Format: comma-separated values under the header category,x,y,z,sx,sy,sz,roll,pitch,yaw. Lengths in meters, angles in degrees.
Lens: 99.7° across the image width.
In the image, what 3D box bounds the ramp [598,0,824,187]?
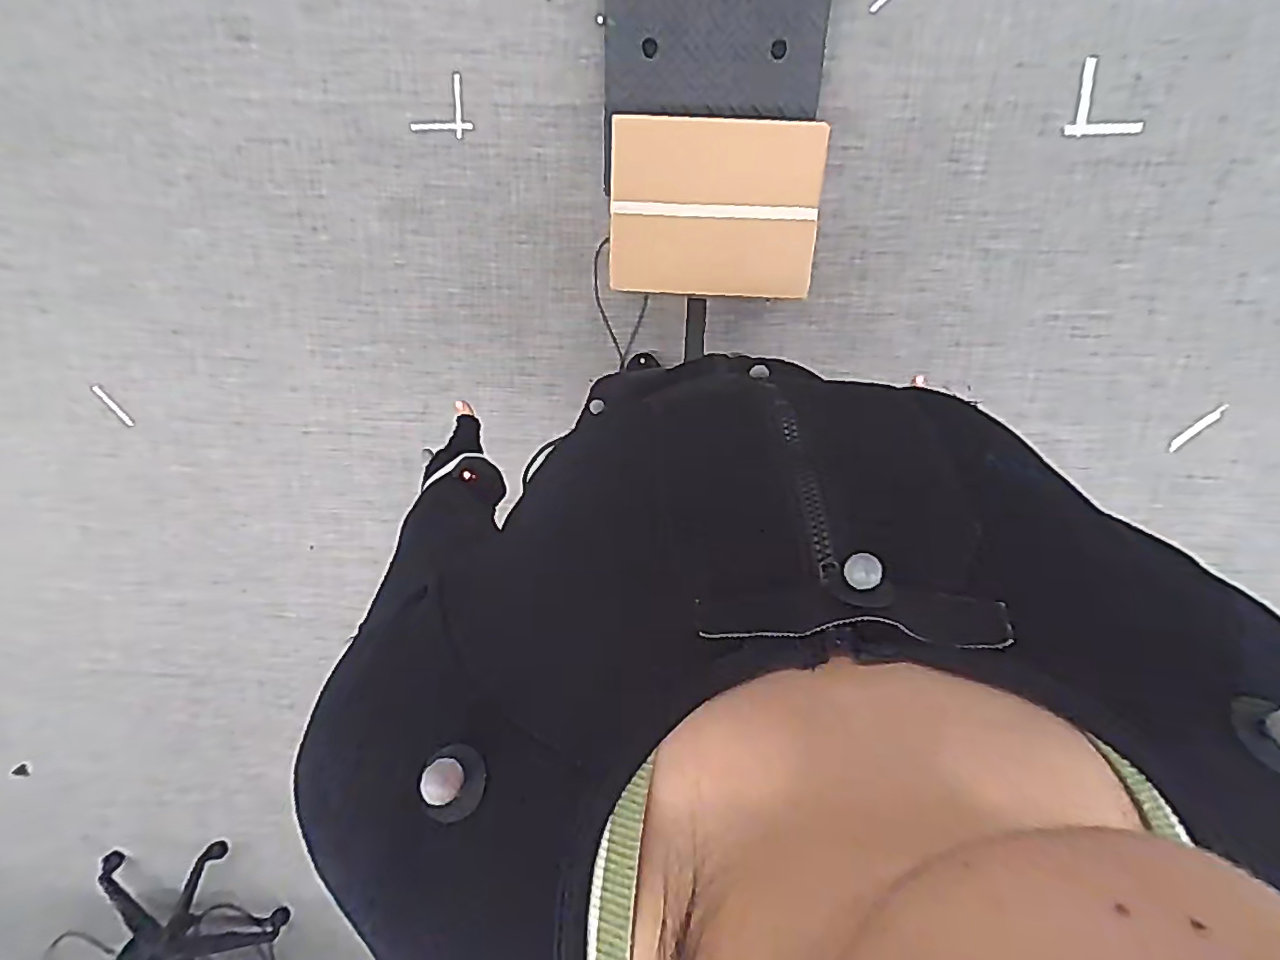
category,x,y,z,sx,sy,sz,roll,pitch,yaw
ramp,0.157,-1.164,1.118,0.509,0.206,0.991,0,105,0

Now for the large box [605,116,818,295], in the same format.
category,x,y,z,sx,sy,sz,roll,pitch,yaw
large box,0.138,-0.580,1.199,0.408,0.320,0.320,3,108,1
